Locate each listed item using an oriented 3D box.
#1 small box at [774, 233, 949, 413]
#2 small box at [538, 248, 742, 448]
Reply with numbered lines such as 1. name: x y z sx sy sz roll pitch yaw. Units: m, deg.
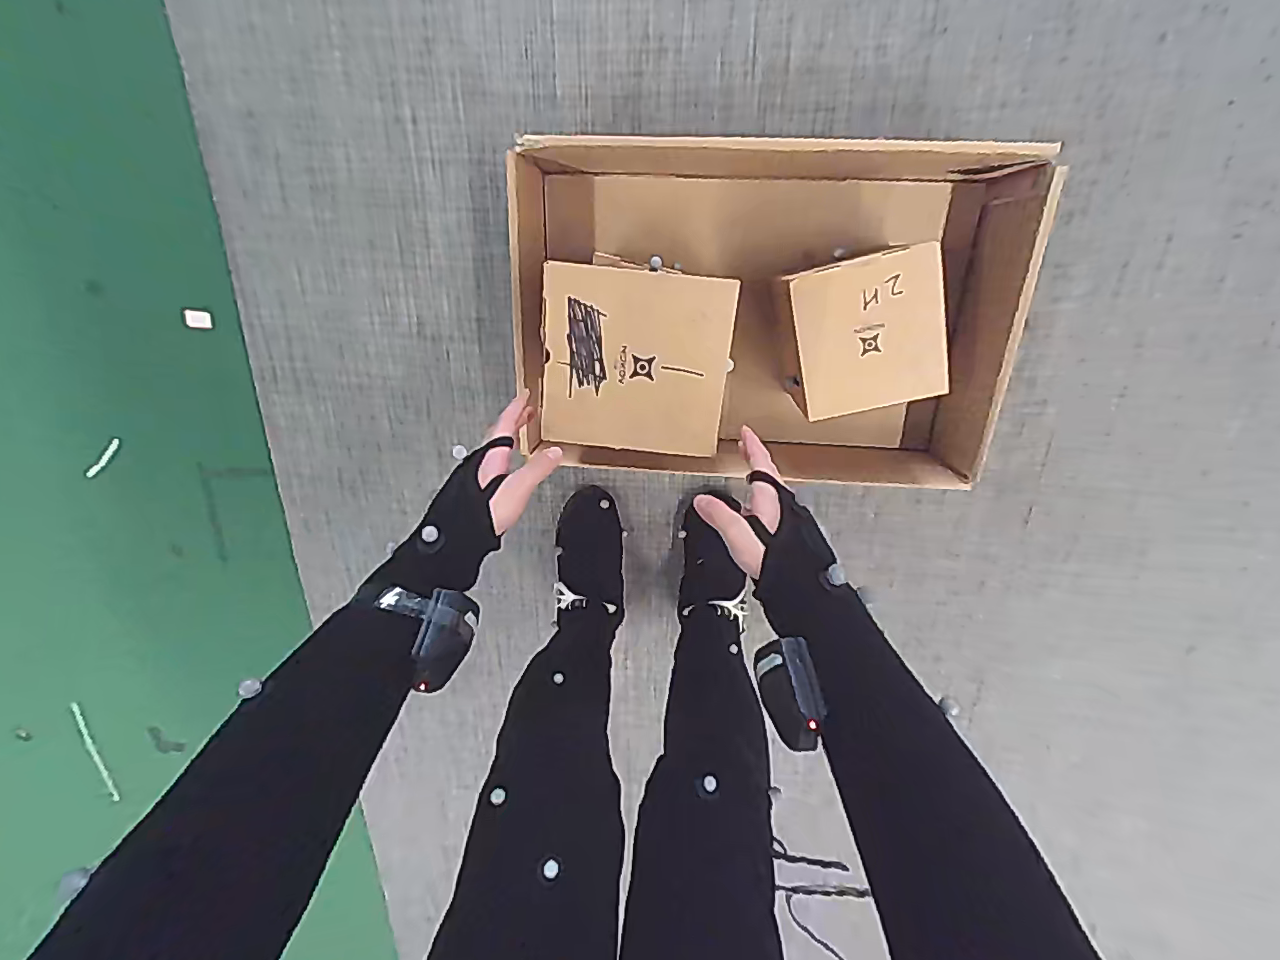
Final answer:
1. small box: 0.275 -0.204 0.697 0.168 0.176 0.179 -11 109 10
2. small box: 0.000 -0.144 0.572 0.179 0.176 0.168 6 111 1
